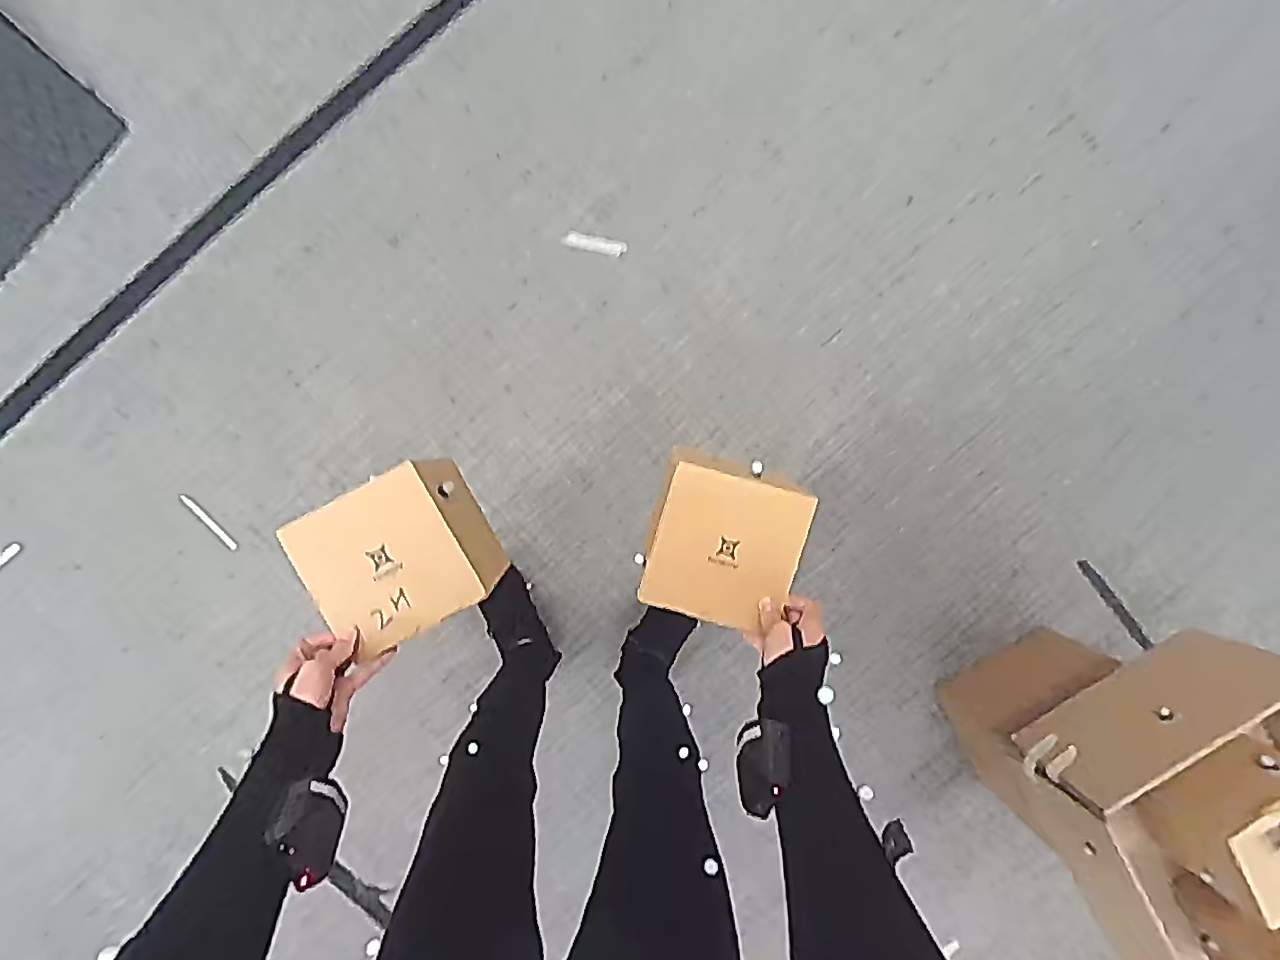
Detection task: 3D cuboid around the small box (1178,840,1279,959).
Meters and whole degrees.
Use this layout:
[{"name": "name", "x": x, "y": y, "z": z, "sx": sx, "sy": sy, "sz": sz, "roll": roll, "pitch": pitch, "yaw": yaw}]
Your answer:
[{"name": "small box", "x": 1.027, "y": 0.723, "z": 0.850, "sx": 0.179, "sy": 0.176, "sz": 0.168, "roll": -32, "pitch": 96, "yaw": 1}]

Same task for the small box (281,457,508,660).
[{"name": "small box", "x": -0.284, "y": 0.083, "z": 0.671, "sx": 0.168, "sy": 0.176, "sz": 0.179, "roll": -28, "pitch": 95, "yaw": -2}]

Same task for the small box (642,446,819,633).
[{"name": "small box", "x": 0.102, "y": 0.063, "z": 0.694, "sx": 0.168, "sy": 0.176, "sz": 0.179, "roll": 15, "pitch": 100, "yaw": -1}]
